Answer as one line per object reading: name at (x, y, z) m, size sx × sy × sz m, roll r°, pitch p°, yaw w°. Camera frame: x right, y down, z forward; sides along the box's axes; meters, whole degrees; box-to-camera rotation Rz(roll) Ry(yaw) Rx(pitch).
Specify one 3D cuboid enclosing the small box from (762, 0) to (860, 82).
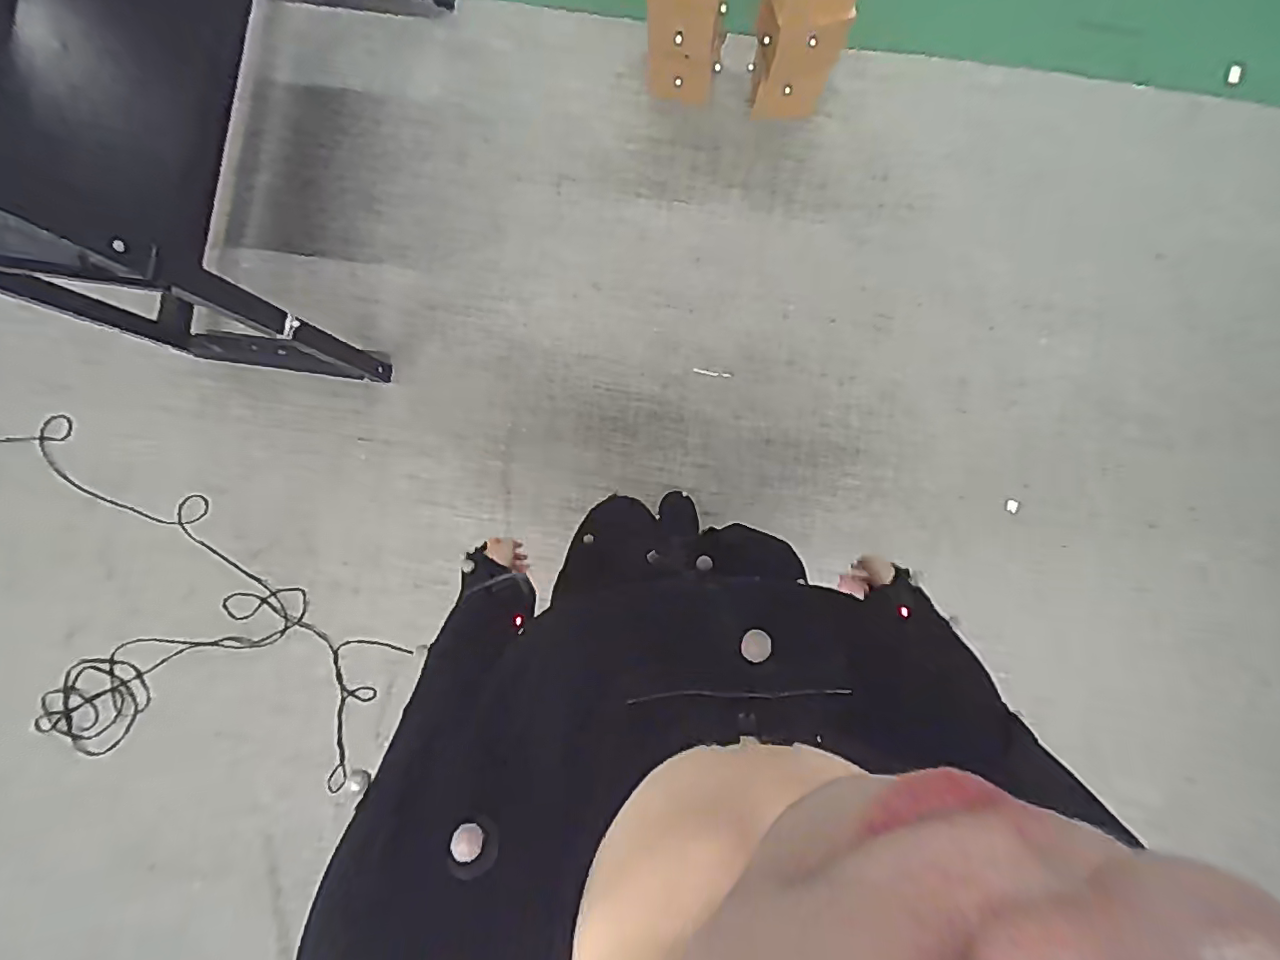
small box at (0.400, -1.104, 1.301) m, size 0.179 × 0.176 × 0.168 m, roll -11°, pitch 89°, yaw 1°

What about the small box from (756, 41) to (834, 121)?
small box at (0.414, -1.107, 1.463) m, size 0.179 × 0.176 × 0.168 m, roll 2°, pitch 88°, yaw 1°

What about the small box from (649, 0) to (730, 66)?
small box at (0.127, -1.158, 1.310) m, size 0.168 × 0.176 × 0.179 m, roll 15°, pitch 88°, yaw 3°

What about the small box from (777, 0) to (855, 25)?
small box at (0.380, -1.116, 1.139) m, size 0.179 × 0.176 × 0.168 m, roll -16°, pitch 88°, yaw 0°

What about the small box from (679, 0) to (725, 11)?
small box at (0.119, -1.153, 1.143) m, size 0.179 × 0.176 × 0.168 m, roll 18°, pitch 88°, yaw 3°
